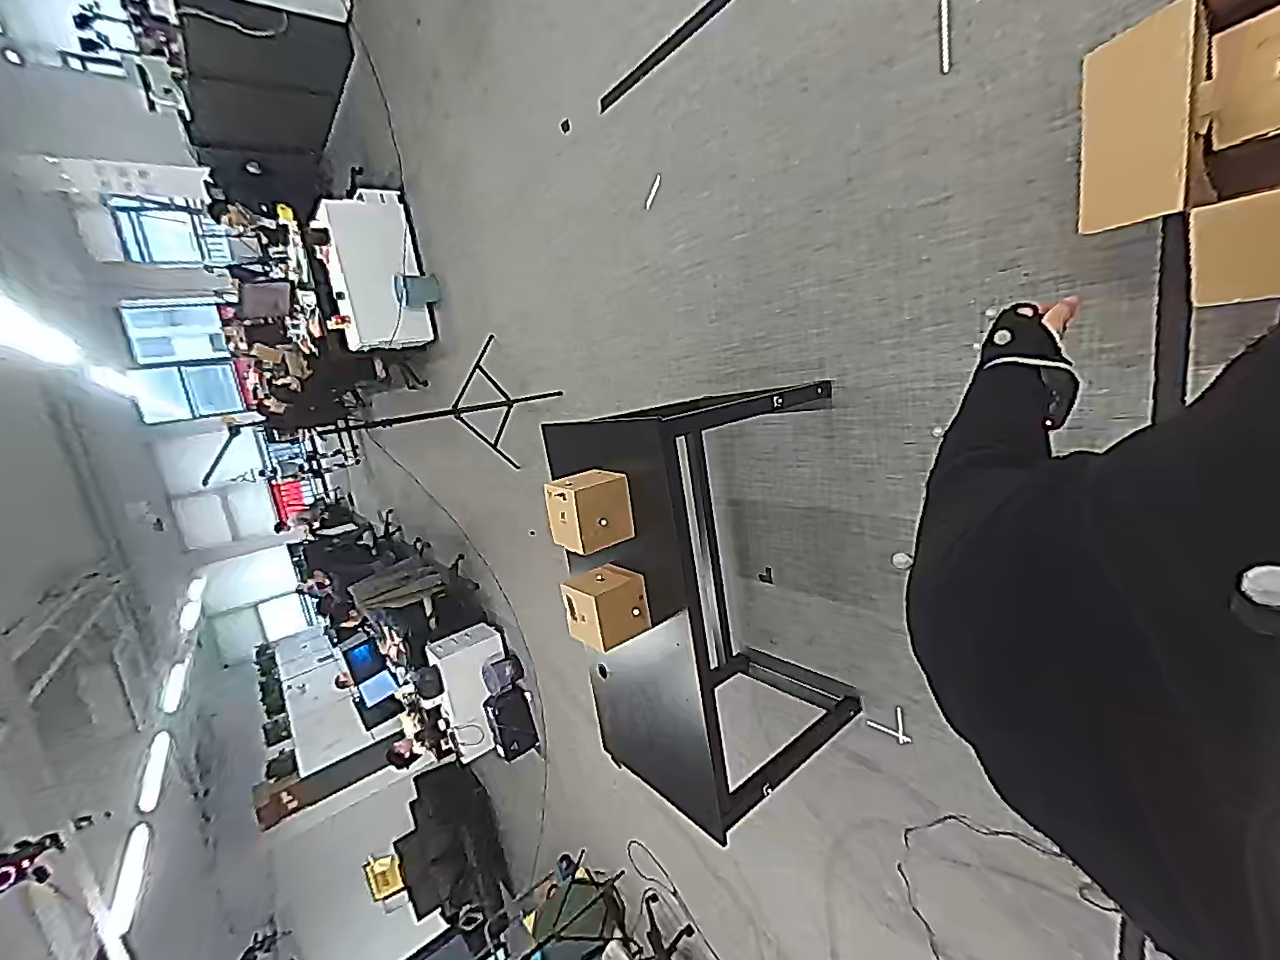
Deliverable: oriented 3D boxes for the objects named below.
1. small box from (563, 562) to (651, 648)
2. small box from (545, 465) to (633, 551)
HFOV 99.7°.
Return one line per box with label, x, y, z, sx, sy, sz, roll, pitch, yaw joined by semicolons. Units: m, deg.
small box;-0.091;0.342;1.523;0.179;0.176;0.168;6;109;52
small box;-0.134;0.070;1.465;0.168;0.176;0.179;11;114;52
